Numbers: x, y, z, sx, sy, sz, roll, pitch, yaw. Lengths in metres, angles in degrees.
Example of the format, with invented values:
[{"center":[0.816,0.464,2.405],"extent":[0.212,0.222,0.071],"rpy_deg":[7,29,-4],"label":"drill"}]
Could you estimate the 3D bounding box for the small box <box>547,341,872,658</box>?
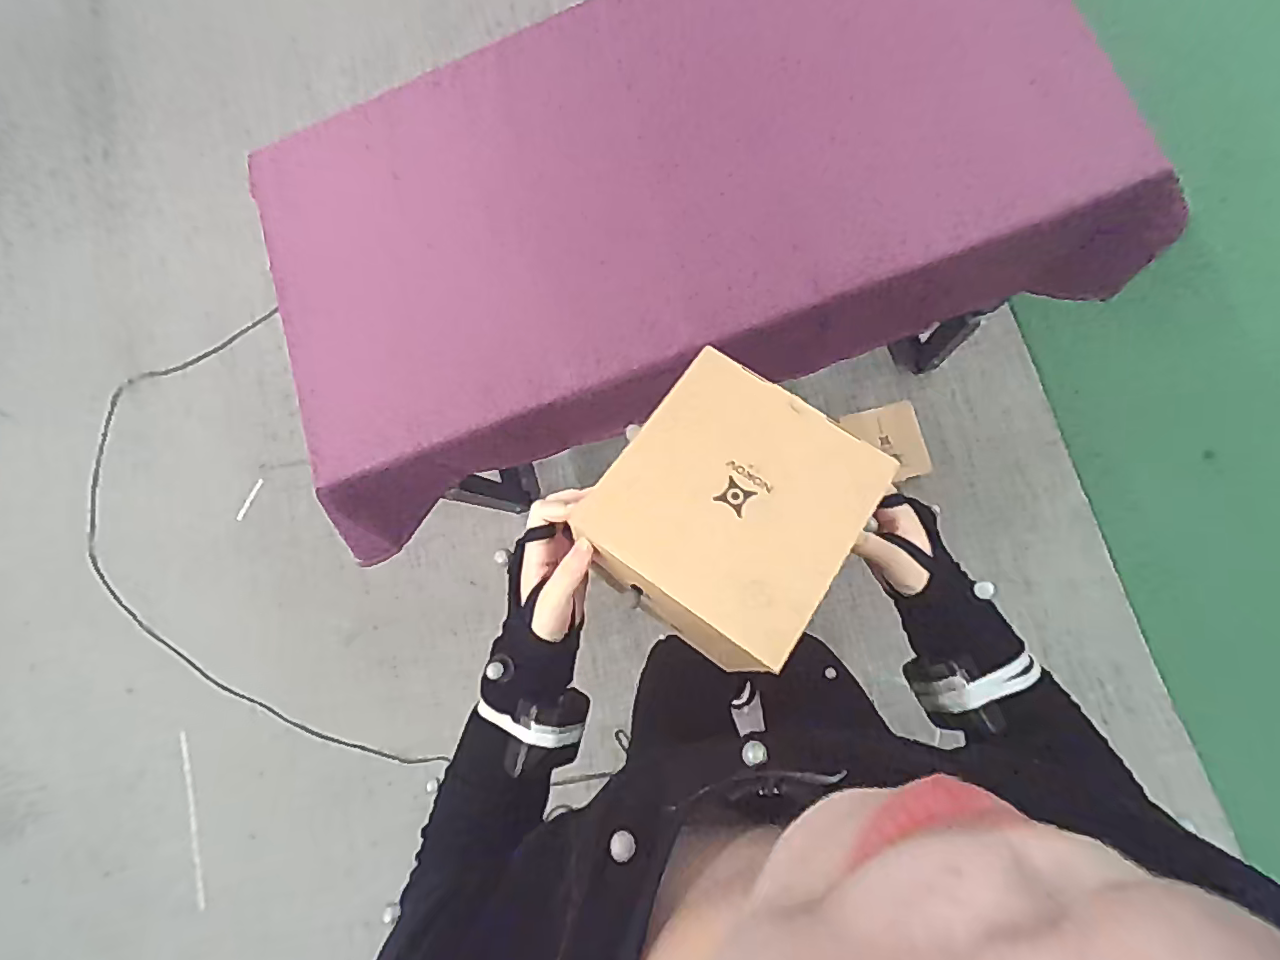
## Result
[{"center":[0.050,0.030,0.449],"extent":[0.168,0.176,0.179],"rpy_deg":[35,72,11],"label":"small box"}]
